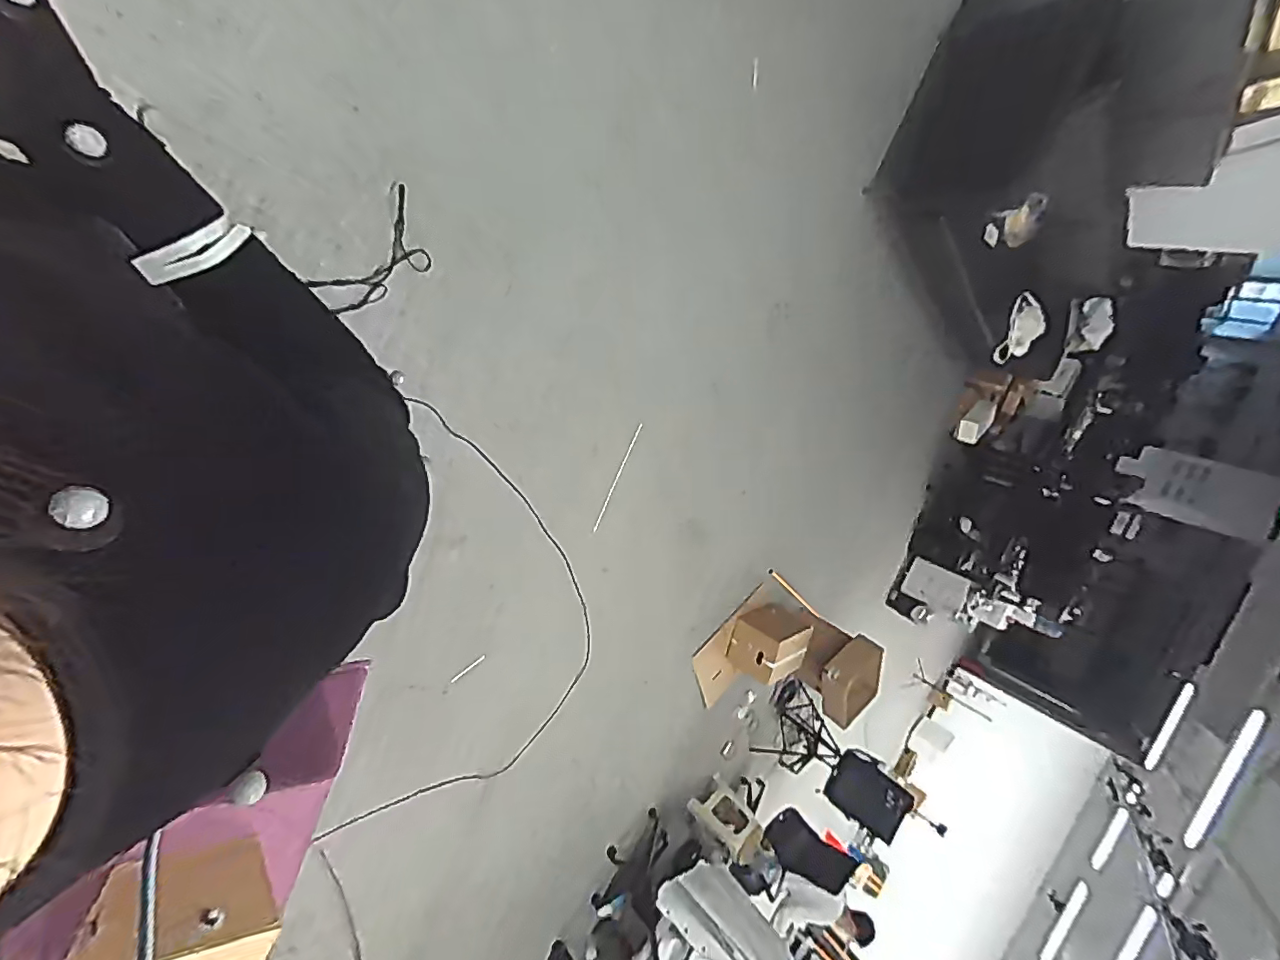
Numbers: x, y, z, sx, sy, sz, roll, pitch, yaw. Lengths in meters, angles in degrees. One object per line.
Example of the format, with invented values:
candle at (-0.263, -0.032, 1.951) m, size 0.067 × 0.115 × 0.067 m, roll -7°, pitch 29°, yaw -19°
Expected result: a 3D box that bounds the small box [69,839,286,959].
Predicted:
small box at (-0.634, 0.634, 0.742) m, size 0.179 × 0.176 × 0.168 m, roll 27°, pitch 90°, yaw -49°
